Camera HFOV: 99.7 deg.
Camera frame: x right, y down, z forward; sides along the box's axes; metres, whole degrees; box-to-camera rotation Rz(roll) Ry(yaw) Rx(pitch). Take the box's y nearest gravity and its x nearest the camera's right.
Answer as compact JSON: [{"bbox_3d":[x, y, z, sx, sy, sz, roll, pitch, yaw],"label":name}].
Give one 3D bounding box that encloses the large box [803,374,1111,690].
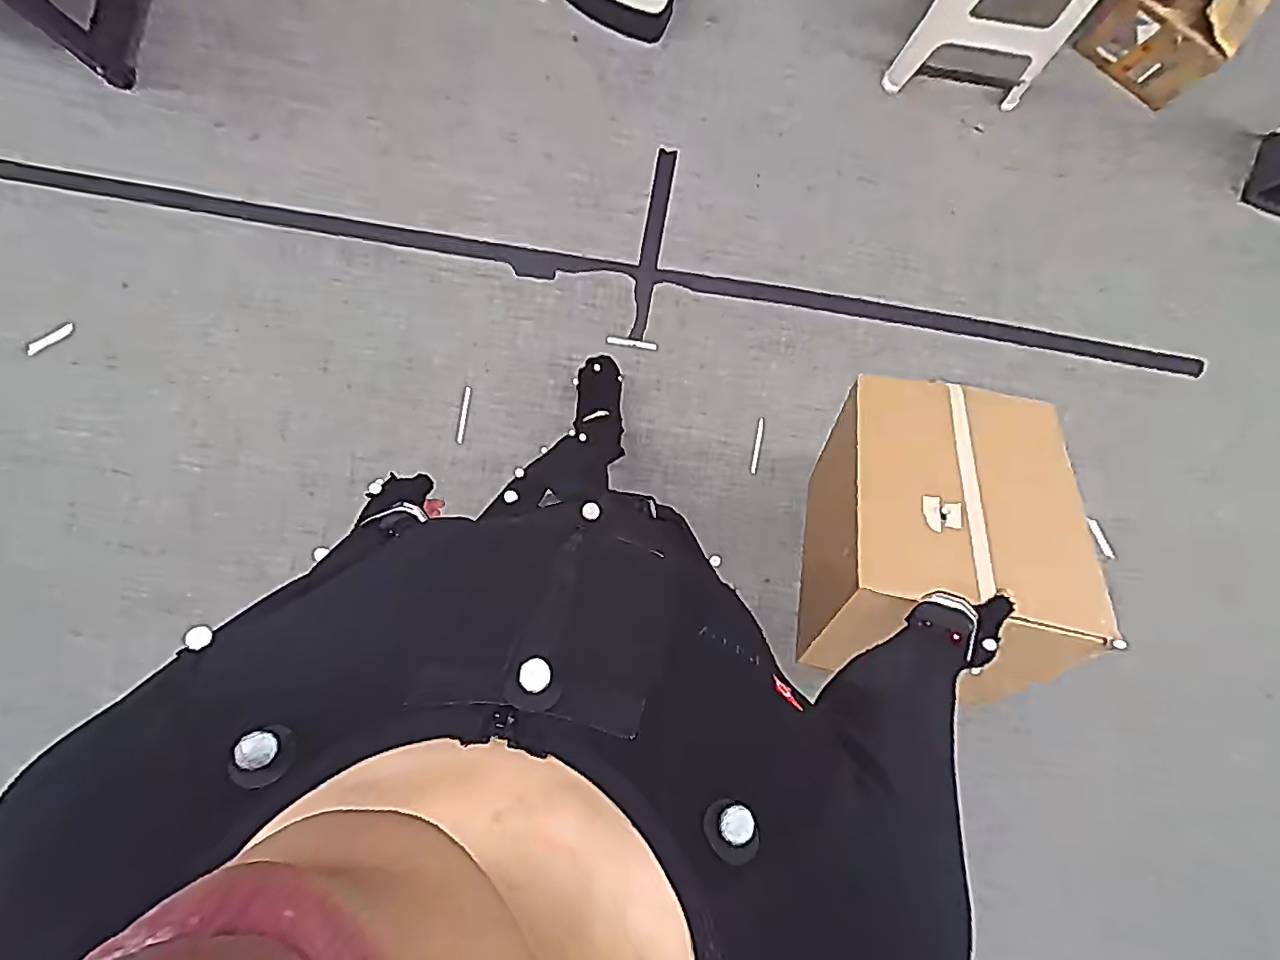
[{"bbox_3d":[0.475,0.089,0.919,0.320,0.320,0.408,11,57,7],"label":"large box"}]
